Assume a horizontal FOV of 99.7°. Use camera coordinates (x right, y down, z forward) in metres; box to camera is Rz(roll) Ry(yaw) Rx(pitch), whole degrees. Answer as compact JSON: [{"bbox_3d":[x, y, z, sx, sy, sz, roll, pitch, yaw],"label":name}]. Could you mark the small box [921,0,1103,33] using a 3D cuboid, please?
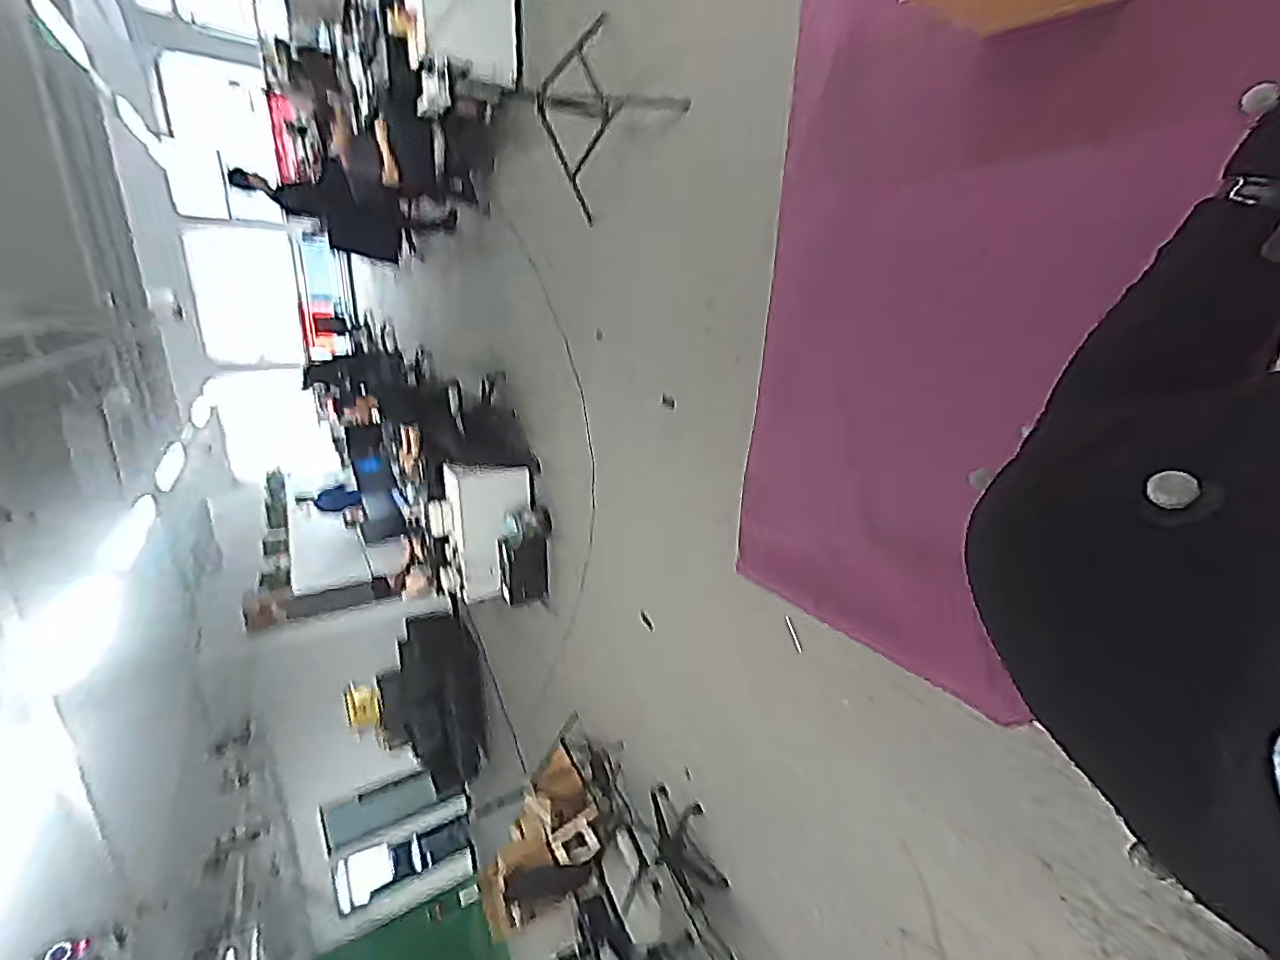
[{"bbox_3d":[0.415,-0.604,0.561,0.179,0.176,0.168,34,127,51],"label":"small box"}]
